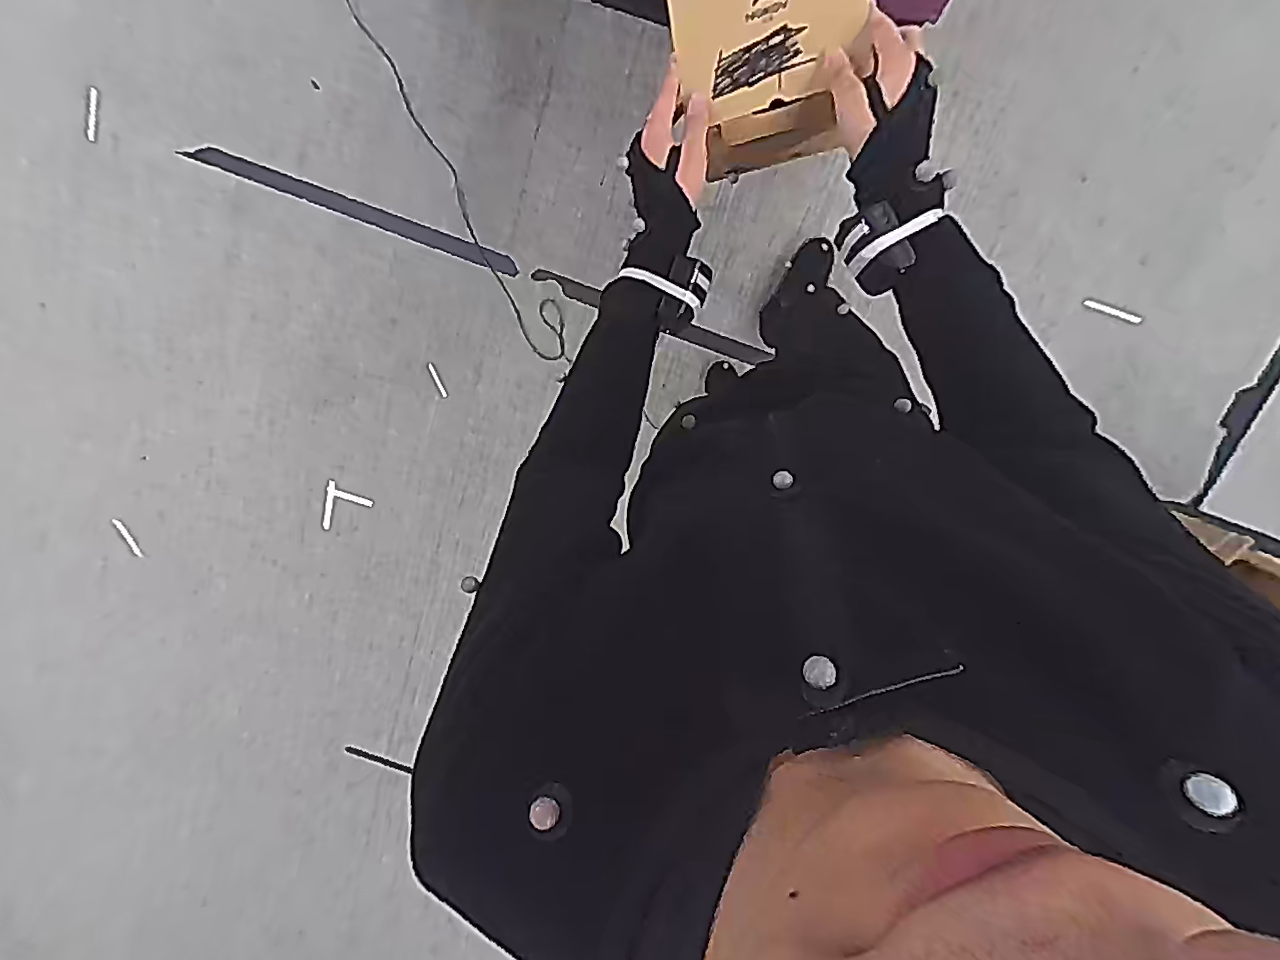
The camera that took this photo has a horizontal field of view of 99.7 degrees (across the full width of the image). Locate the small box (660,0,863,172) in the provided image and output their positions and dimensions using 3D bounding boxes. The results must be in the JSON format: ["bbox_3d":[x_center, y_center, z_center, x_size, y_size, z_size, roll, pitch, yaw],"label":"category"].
[{"bbox_3d":[0.119,-0.437,0.545,0.168,0.176,0.179,-9,101,15],"label":"small box"}]
